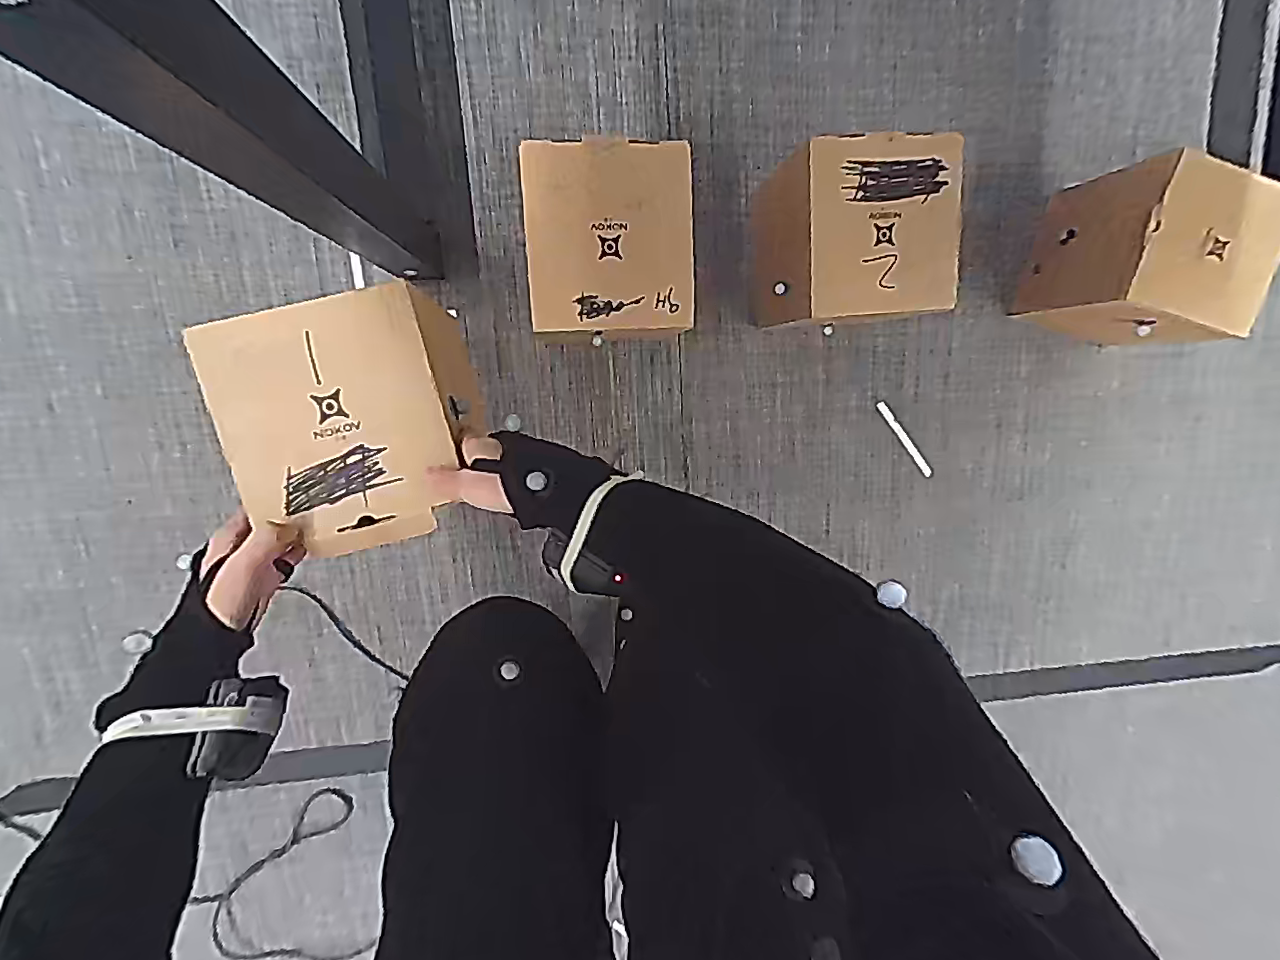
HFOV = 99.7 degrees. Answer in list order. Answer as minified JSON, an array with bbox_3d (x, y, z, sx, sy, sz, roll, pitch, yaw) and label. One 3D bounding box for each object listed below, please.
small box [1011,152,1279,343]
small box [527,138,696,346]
[{"bbox_3d":[0.632,-0.275,0.687,0.179,0.176,0.168,12,99,-9],"label":"small box"},{"bbox_3d":[-0.037,-0.247,0.604,0.168,0.176,0.179,-3,100,-7],"label":"small box"}]
